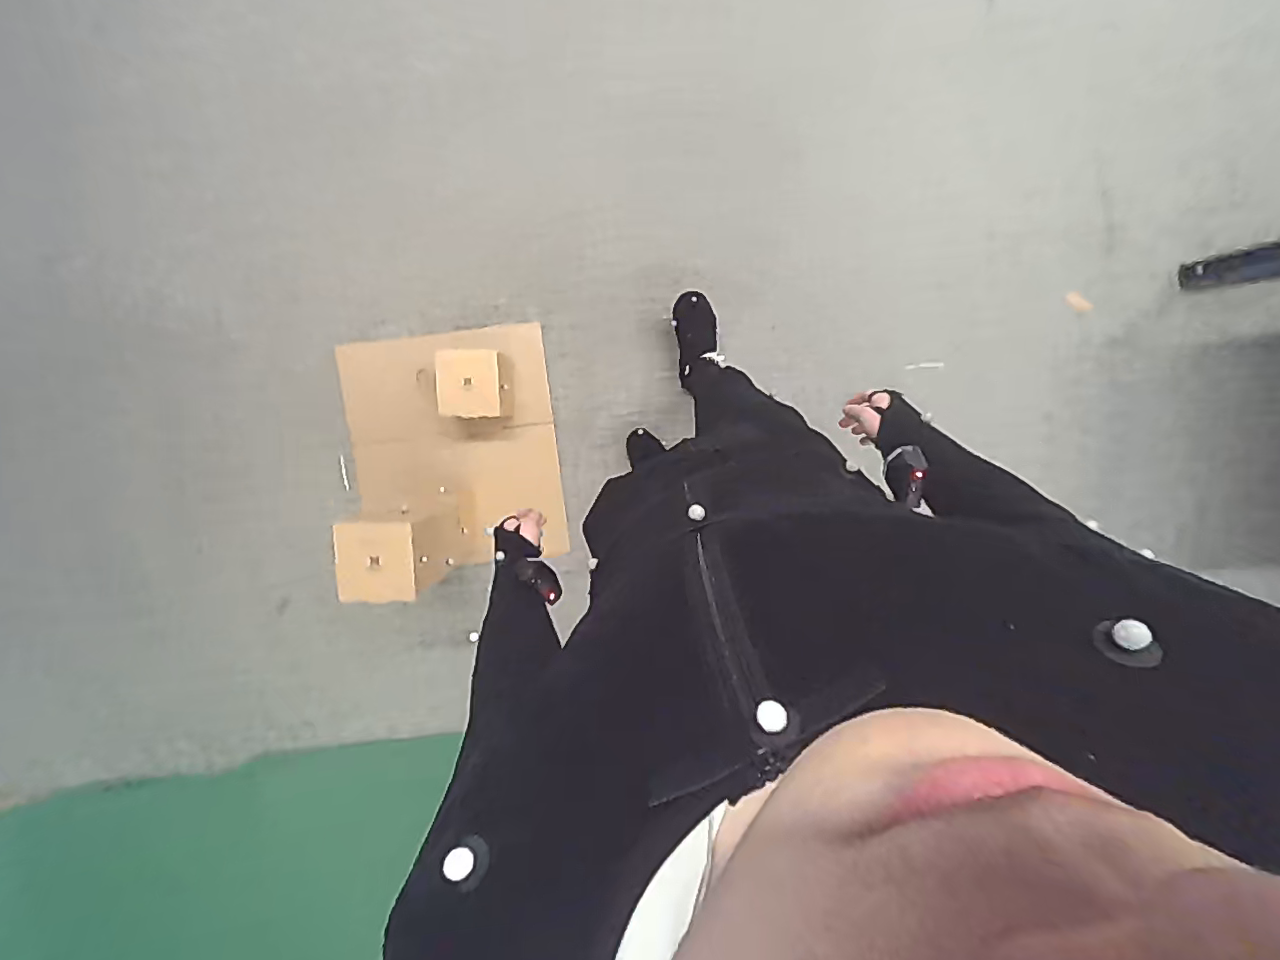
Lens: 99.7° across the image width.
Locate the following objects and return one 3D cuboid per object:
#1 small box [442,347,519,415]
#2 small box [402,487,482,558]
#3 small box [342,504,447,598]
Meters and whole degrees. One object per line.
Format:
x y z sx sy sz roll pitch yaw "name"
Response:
-0.439 -0.273 1.509 0.168 0.176 0.179 -1 98 1 "small box"
-0.564 0.119 1.562 0.168 0.176 0.179 -2 97 1 "small box"
-0.553 0.158 1.237 0.168 0.176 0.179 0 97 0 "small box"
